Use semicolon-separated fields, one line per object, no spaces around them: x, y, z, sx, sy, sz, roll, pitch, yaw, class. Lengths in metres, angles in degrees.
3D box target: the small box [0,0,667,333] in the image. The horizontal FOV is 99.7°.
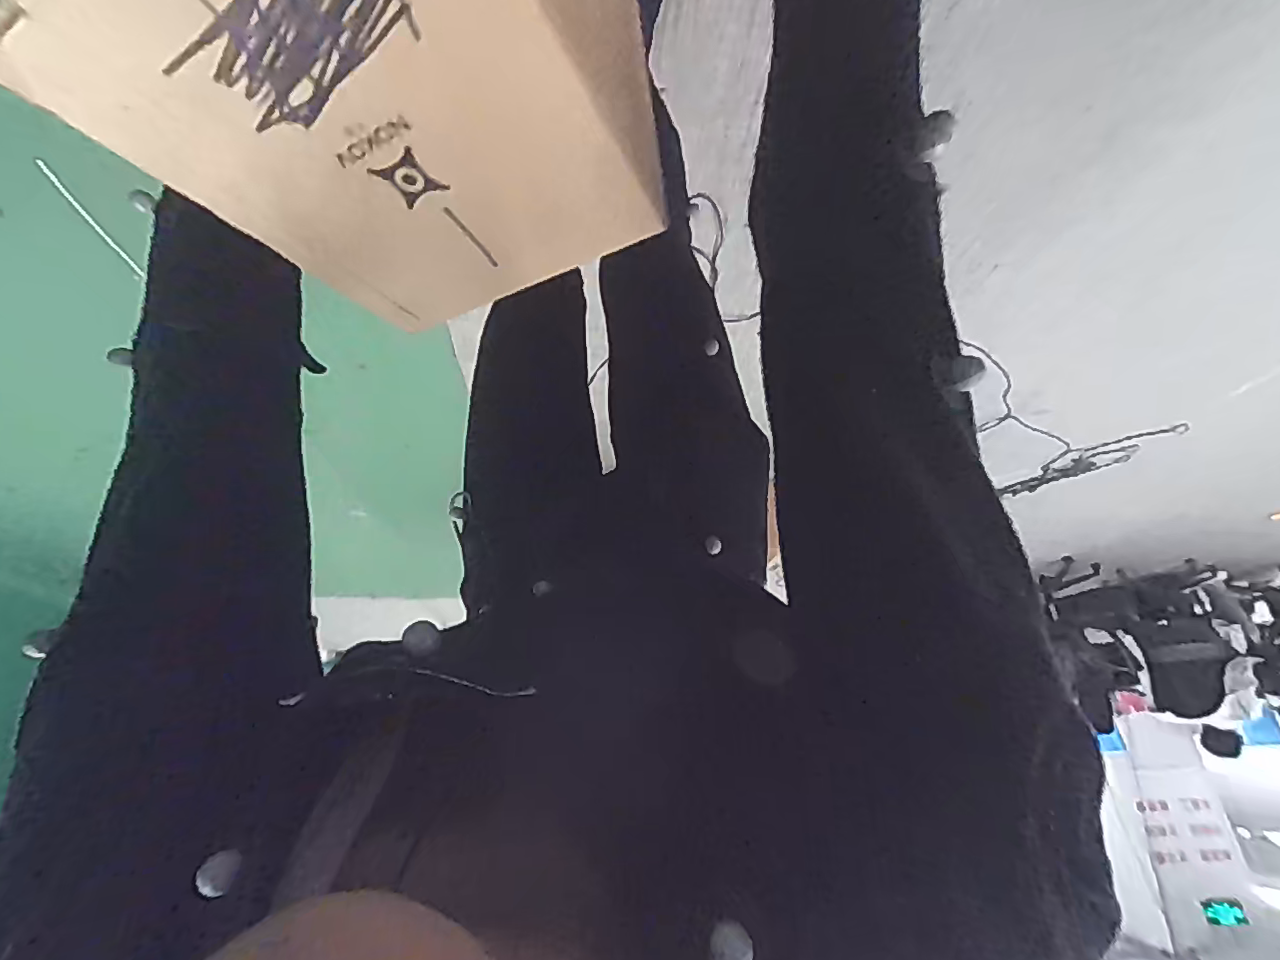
-0.102;-0.201;0.234;0.168;0.176;0.179;-13;159;21;small box
